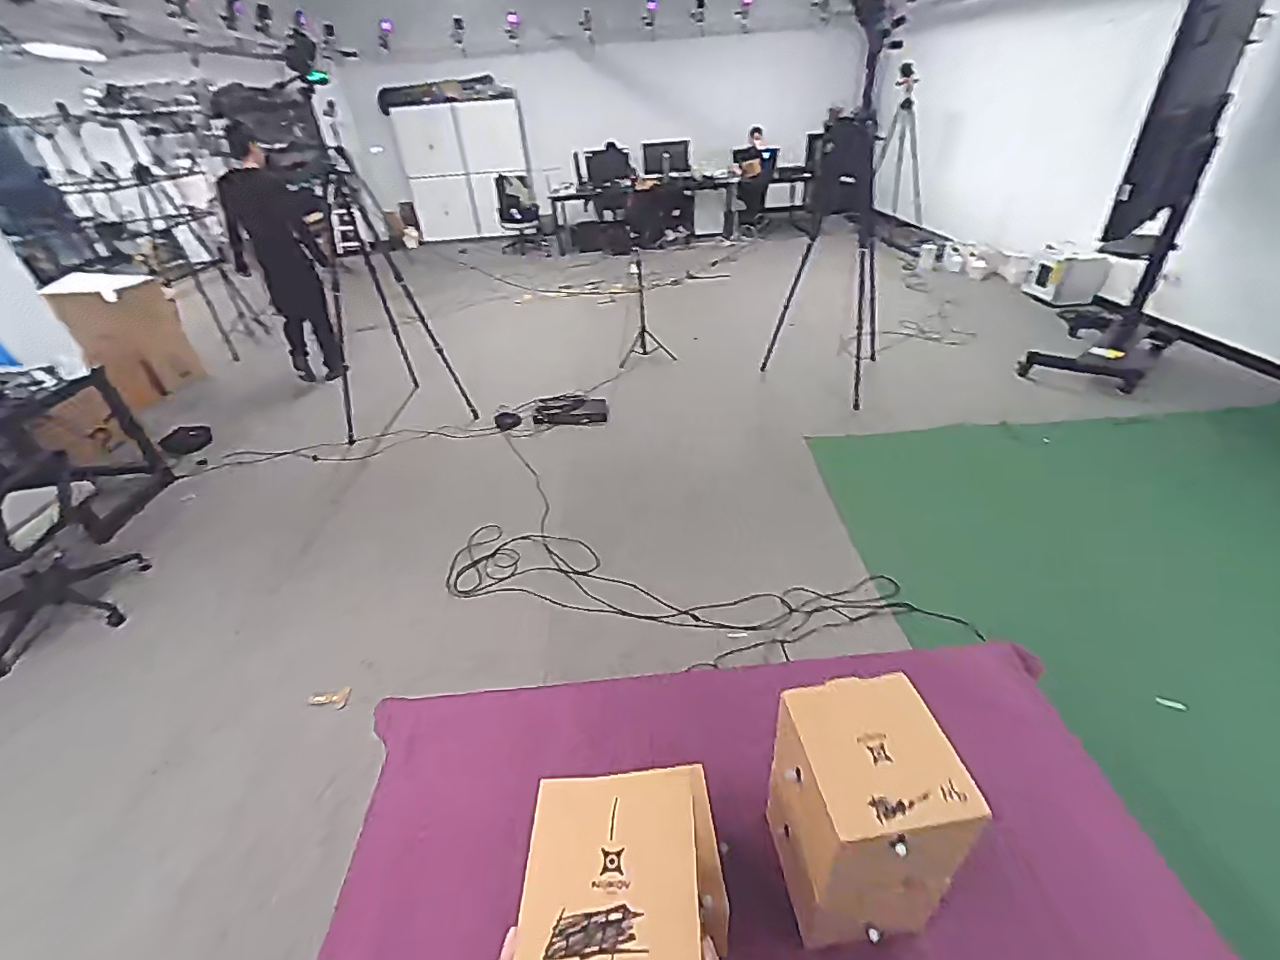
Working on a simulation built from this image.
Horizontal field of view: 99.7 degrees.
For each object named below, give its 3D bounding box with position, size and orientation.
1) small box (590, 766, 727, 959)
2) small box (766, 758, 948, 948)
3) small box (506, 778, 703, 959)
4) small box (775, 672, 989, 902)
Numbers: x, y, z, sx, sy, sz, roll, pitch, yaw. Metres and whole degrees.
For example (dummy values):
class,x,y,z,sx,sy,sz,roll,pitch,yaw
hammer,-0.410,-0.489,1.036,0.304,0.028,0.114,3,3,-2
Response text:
class,x,y,z,sx,sy,sz,roll,pitch,yaw
small box,0.018,0.531,0.746,0.168,0.176,0.179,-6,35,-3
small box,0.282,0.504,0.751,0.168,0.176,0.179,-7,35,-3
small box,-0.023,0.432,0.549,0.168,0.176,0.179,-3,36,4
small box,0.272,0.368,0.659,0.168,0.176,0.179,-8,34,-4
